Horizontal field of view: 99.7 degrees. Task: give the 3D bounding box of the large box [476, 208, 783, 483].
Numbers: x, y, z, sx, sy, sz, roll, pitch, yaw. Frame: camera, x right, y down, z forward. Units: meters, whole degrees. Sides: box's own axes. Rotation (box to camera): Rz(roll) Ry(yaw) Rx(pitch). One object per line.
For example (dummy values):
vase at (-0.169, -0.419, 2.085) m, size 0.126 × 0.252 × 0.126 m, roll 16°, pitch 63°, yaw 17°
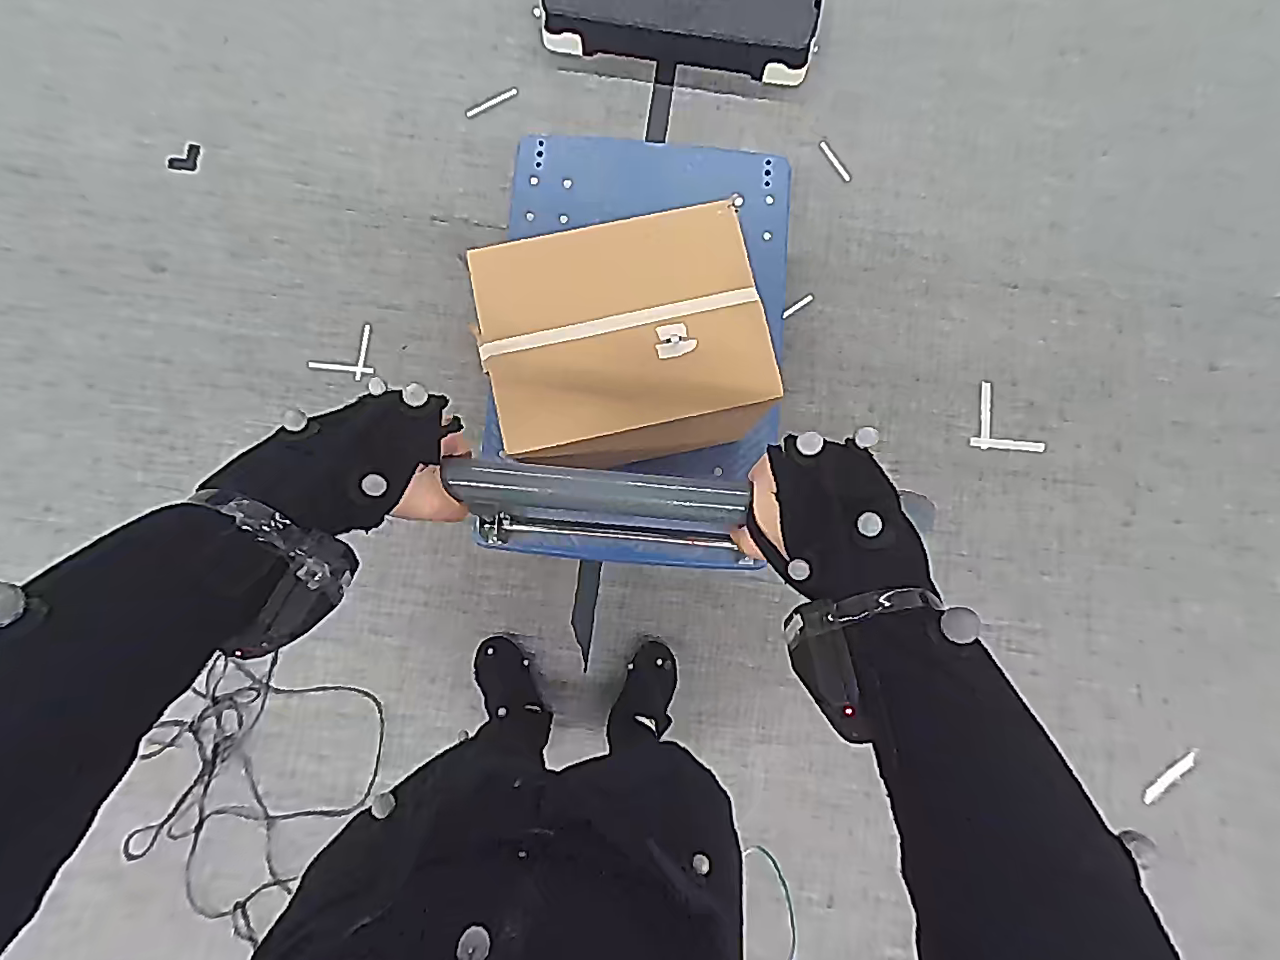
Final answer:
large box at (-0.023, -0.201, 0.936) m, size 0.408 × 0.320 × 0.320 m, roll -12°, pitch 84°, yaw -3°
